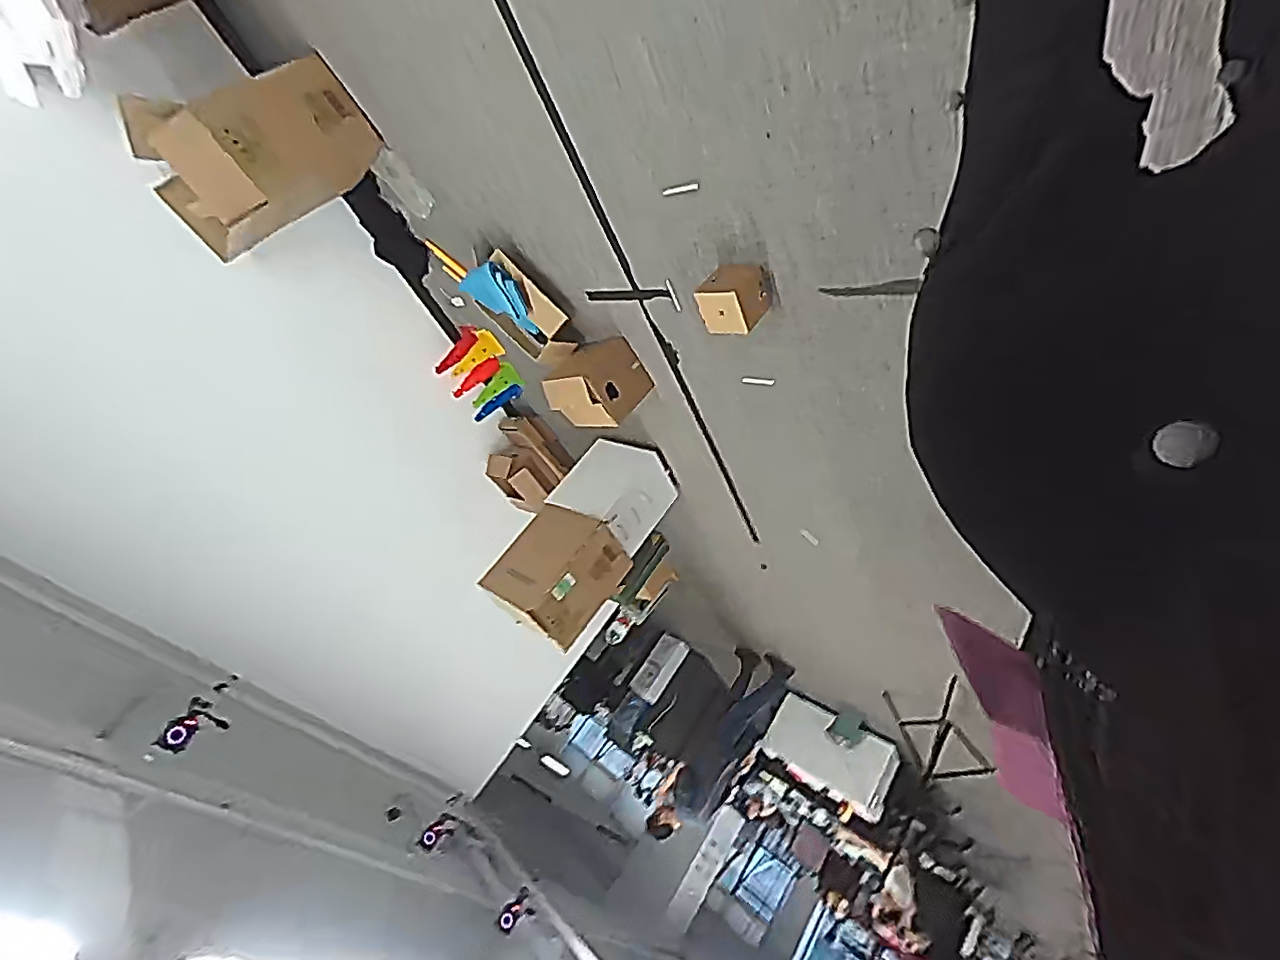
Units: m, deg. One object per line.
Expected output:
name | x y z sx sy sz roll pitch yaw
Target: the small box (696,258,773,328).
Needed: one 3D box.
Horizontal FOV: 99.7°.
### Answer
small box | 0.329 -0.645 1.868 0.179 0.176 0.168 15 148 43
